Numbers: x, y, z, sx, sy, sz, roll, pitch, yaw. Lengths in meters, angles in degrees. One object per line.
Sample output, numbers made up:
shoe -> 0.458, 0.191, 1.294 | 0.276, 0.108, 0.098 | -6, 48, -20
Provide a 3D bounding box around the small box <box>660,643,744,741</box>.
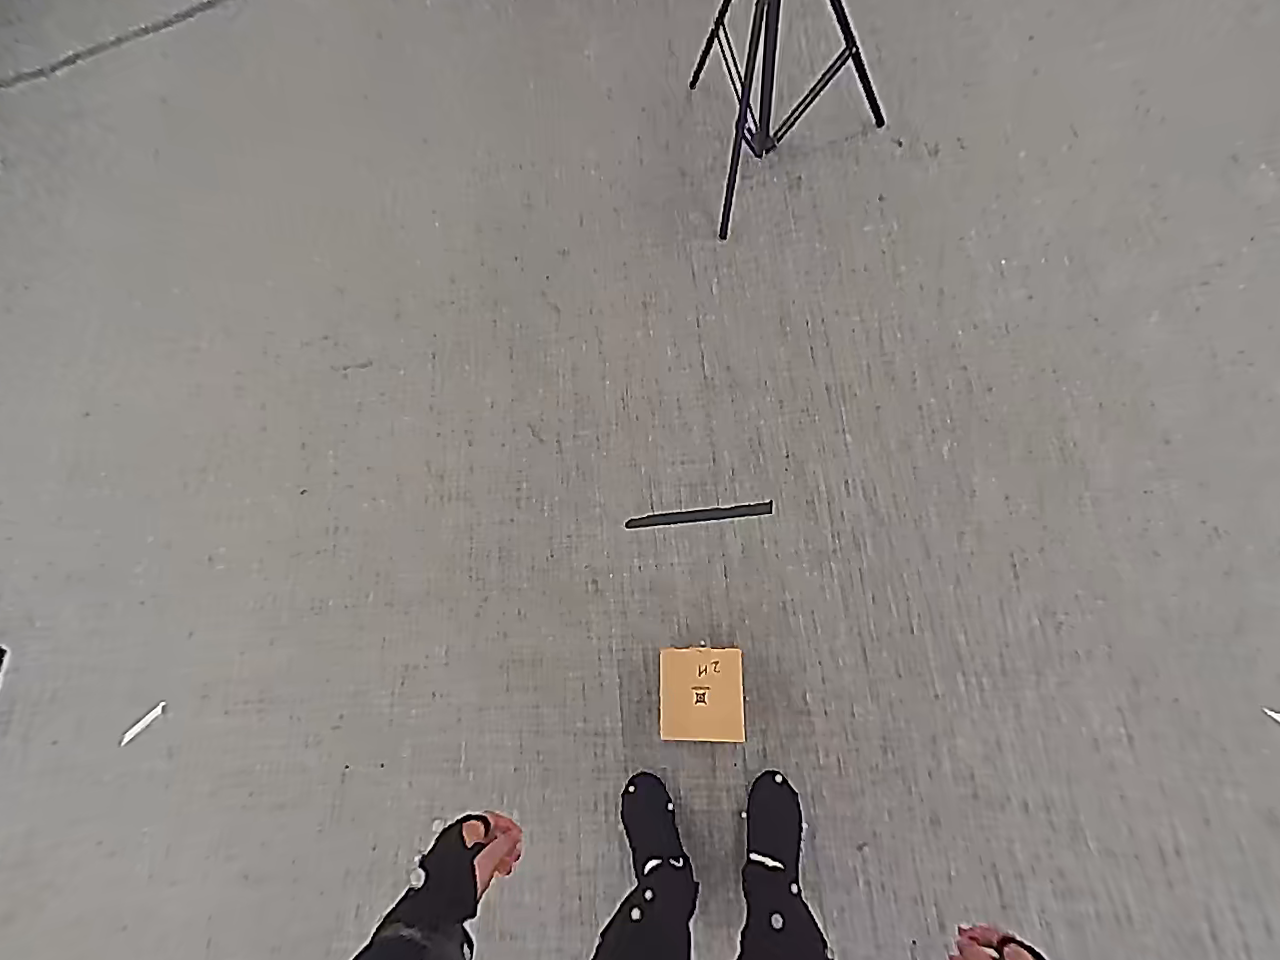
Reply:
small box -> 0.134, 0.439, 1.142 | 0.168, 0.176, 0.179 | -2, 73, 8
